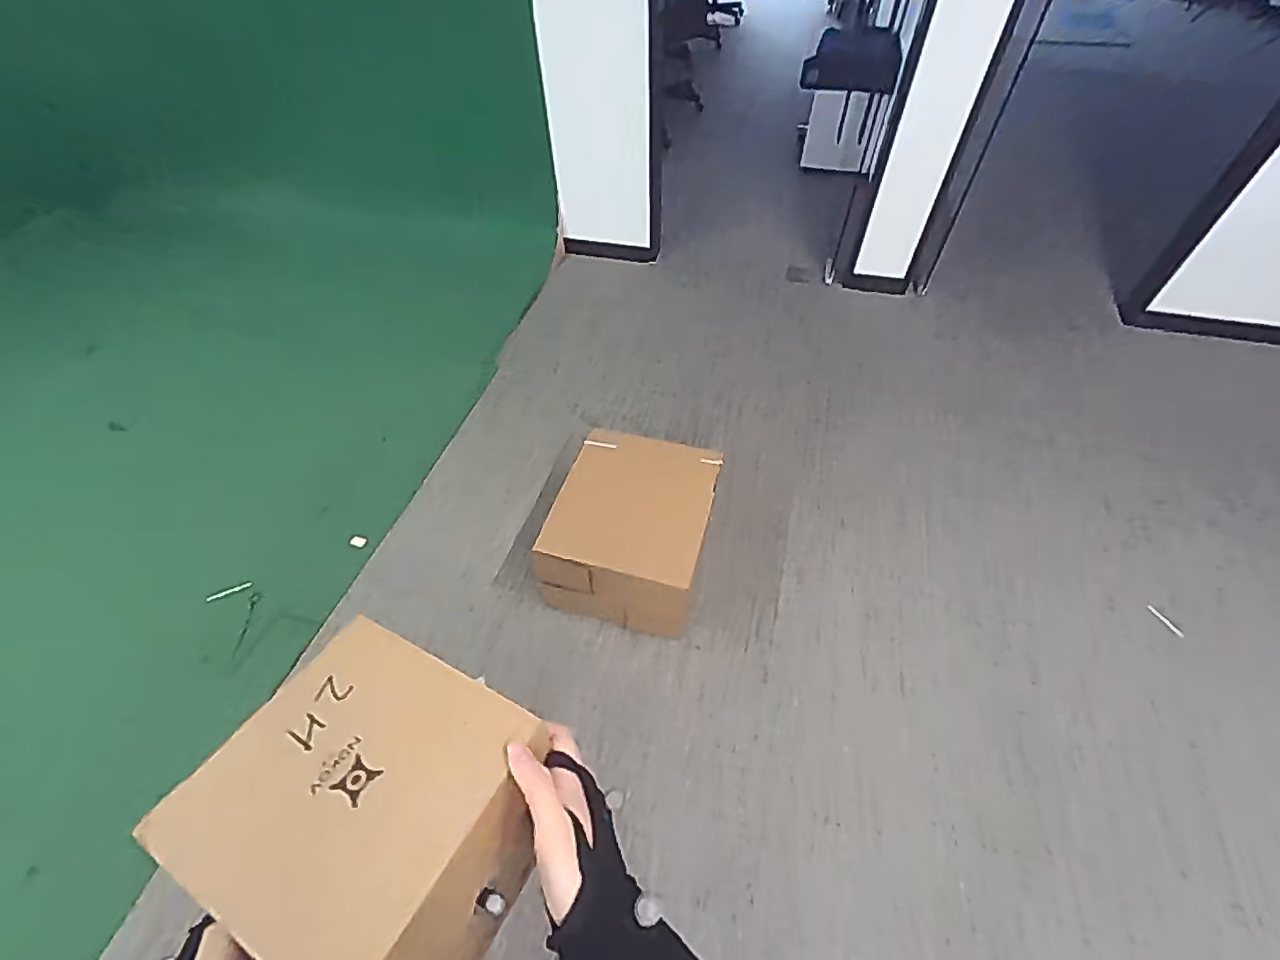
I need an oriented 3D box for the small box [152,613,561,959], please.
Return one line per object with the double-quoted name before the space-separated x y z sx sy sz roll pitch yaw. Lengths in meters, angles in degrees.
"small box" -0.175 0.237 0.393 0.179 0.176 0.168 20 46 22
